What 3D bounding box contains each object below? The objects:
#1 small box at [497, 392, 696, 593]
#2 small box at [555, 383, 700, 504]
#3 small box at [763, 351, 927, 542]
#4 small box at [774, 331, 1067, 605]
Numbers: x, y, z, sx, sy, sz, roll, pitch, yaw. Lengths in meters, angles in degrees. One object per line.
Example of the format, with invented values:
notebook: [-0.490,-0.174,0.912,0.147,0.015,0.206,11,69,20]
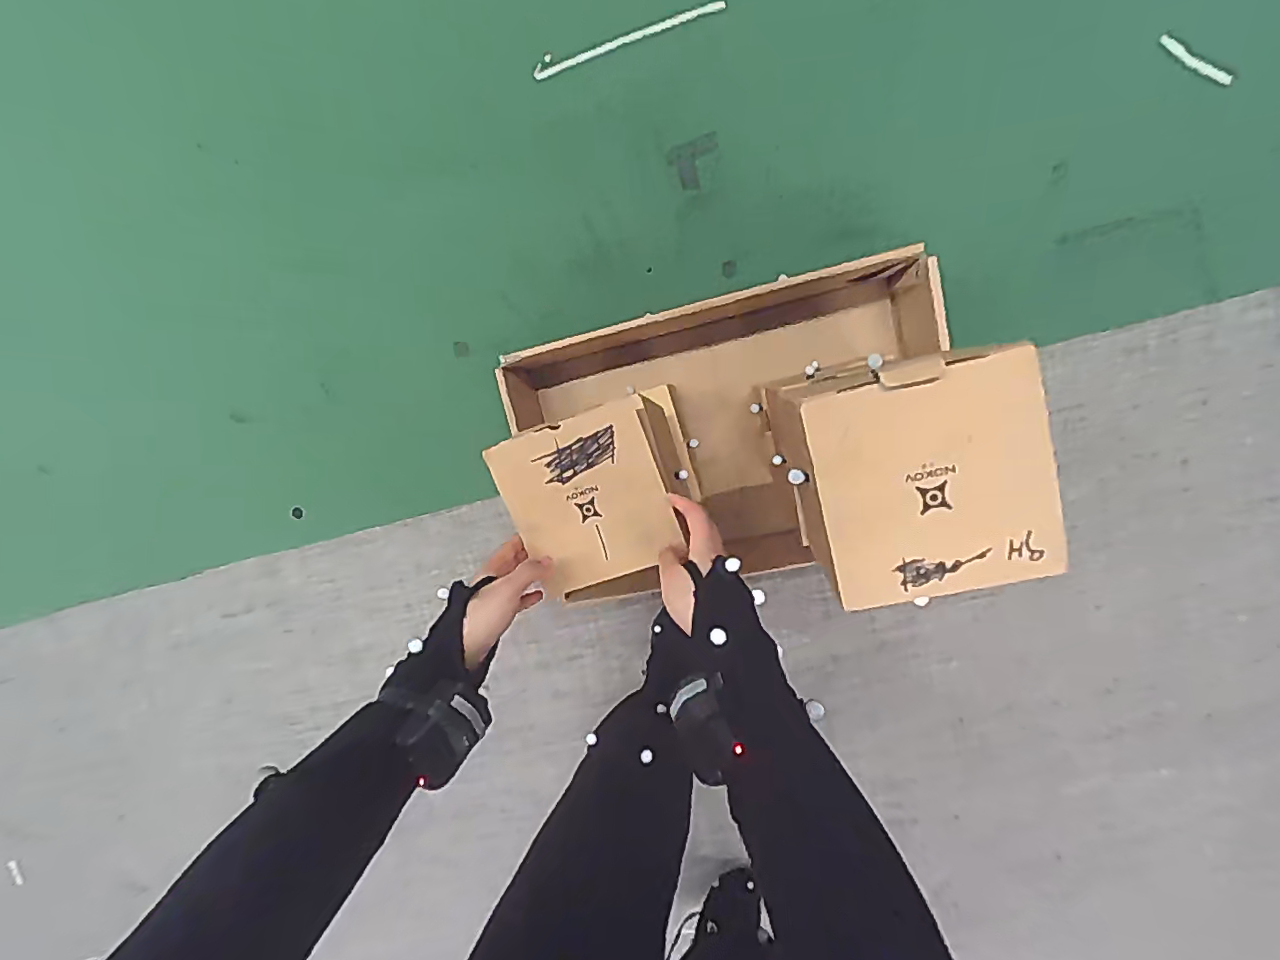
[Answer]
small box: [-0.040,0.012,0.641,0.168,0.176,0.179,-18,90,11]
small box: [-0.012,-0.041,0.837,0.168,0.176,0.179,-18,98,9]
small box: [0.246,-0.045,0.637,0.168,0.176,0.179,-11,100,10]
small box: [0.223,-0.015,0.476,0.168,0.176,0.179,-14,97,10]
